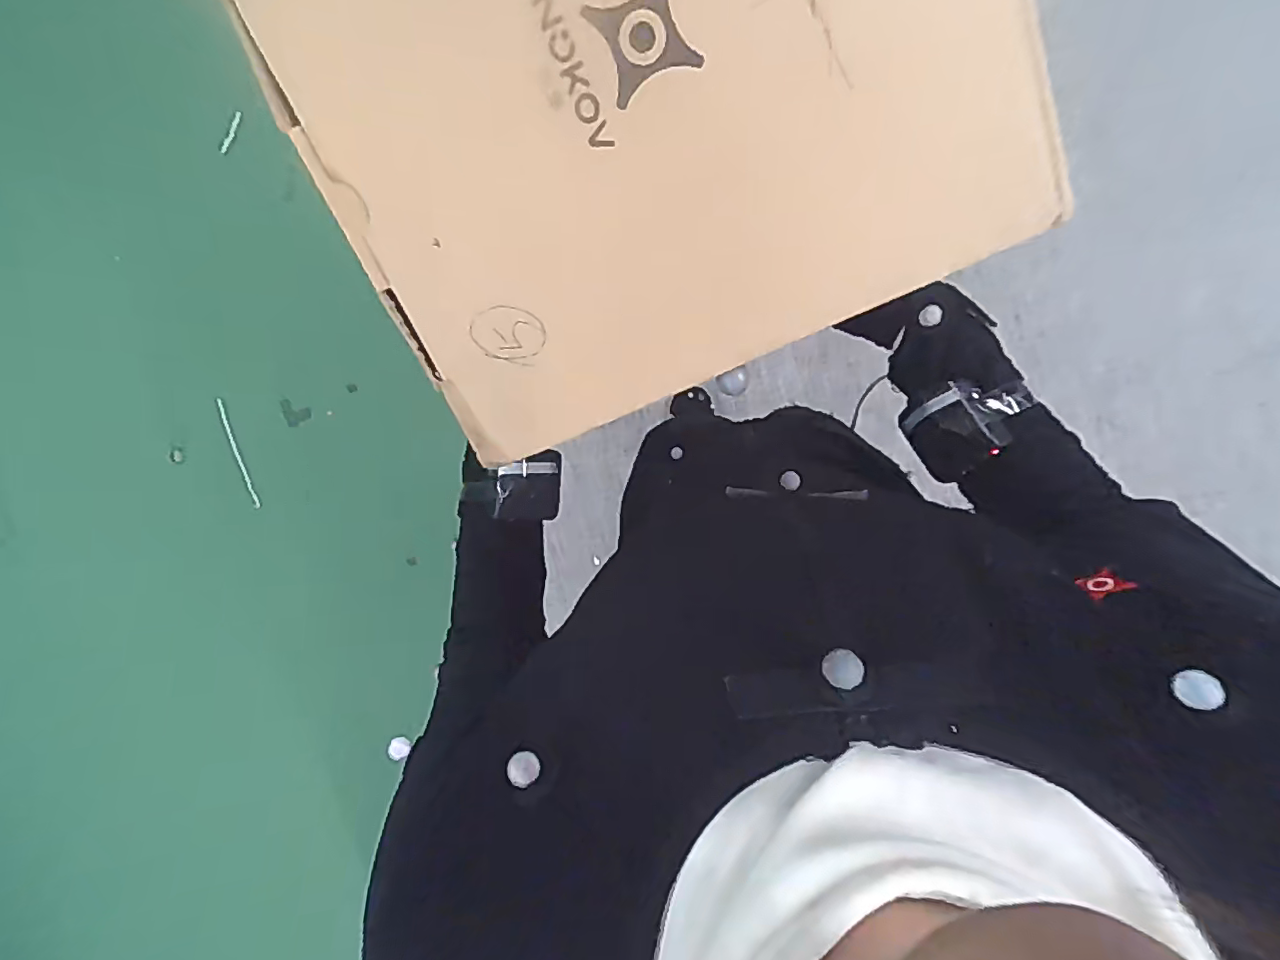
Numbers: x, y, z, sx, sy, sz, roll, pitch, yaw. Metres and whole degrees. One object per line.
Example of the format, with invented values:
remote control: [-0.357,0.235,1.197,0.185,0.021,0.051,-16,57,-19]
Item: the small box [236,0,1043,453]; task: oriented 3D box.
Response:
small box: [0.002,-0.134,0.213,0.179,0.176,0.168,-23,107,10]
